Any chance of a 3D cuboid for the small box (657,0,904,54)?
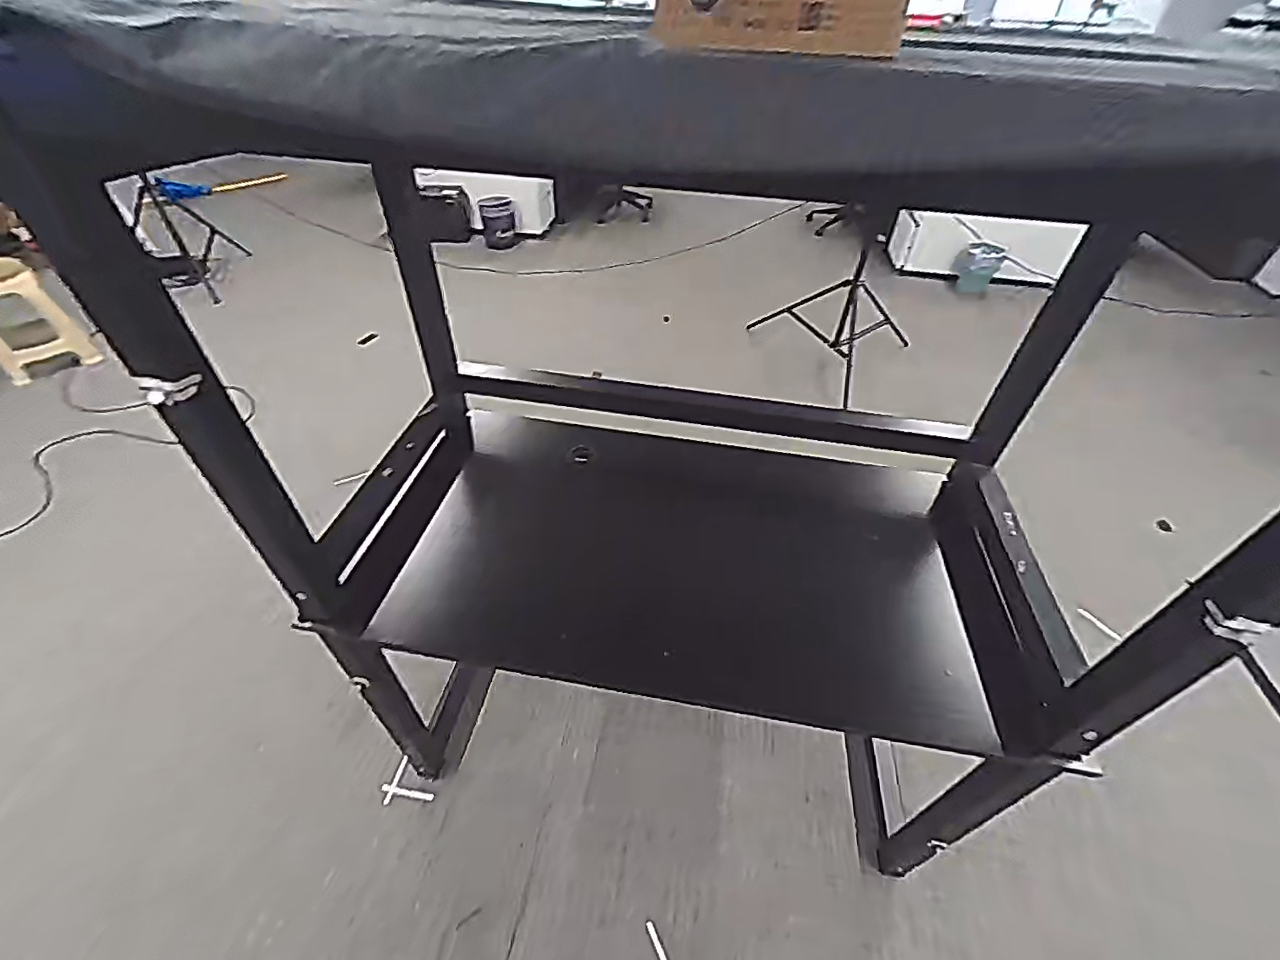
[{"bbox_3d":[0.104,-0.408,0.375,0.168,0.176,0.179,7,41,5],"label":"small box"}]
